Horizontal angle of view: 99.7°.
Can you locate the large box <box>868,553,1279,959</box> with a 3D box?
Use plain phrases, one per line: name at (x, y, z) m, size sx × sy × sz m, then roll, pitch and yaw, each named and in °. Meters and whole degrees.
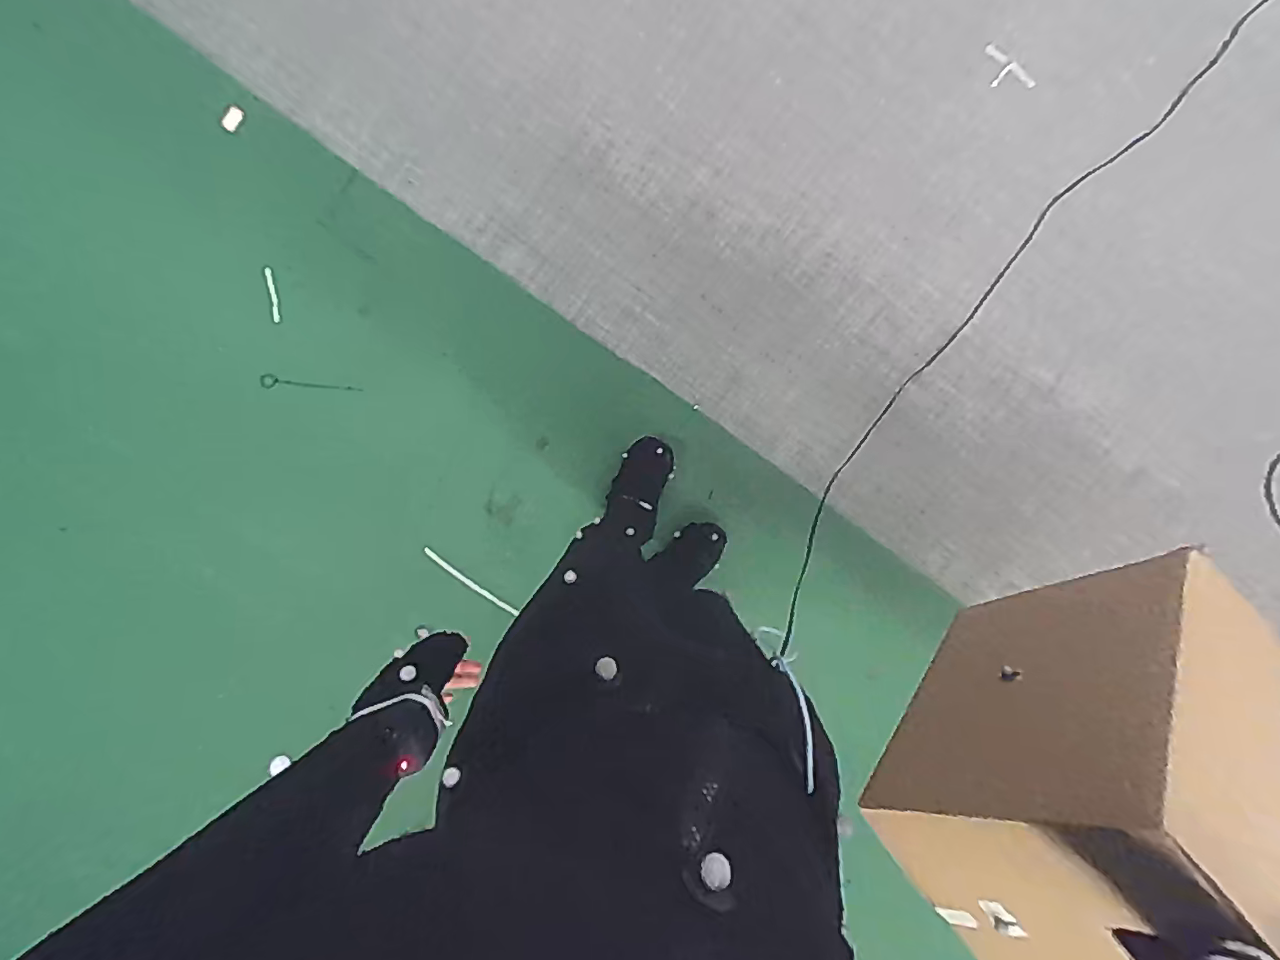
large box at (0.551, 0.361, 0.640) m, size 0.408 × 0.320 × 0.320 m, roll -35°, pitch 85°, yaw -37°
